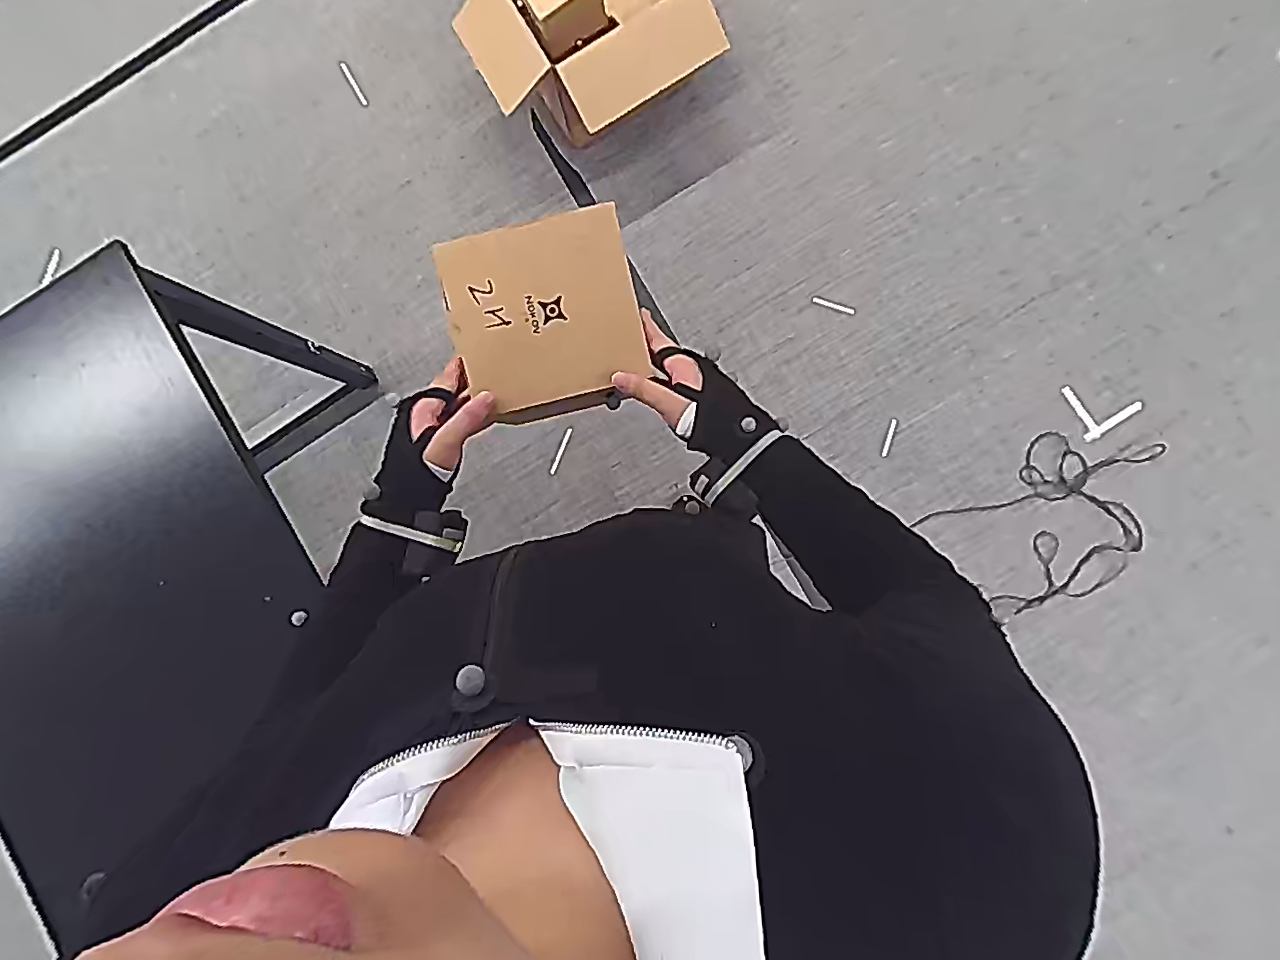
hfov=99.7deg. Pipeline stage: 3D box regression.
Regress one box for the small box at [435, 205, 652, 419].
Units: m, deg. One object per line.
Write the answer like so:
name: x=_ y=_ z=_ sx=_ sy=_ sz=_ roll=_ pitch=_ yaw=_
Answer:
small box: x=-0.090 y=-0.165 z=0.587 sx=0.179 sy=0.176 sz=0.168 roll=-13 pitch=94 yaw=2
